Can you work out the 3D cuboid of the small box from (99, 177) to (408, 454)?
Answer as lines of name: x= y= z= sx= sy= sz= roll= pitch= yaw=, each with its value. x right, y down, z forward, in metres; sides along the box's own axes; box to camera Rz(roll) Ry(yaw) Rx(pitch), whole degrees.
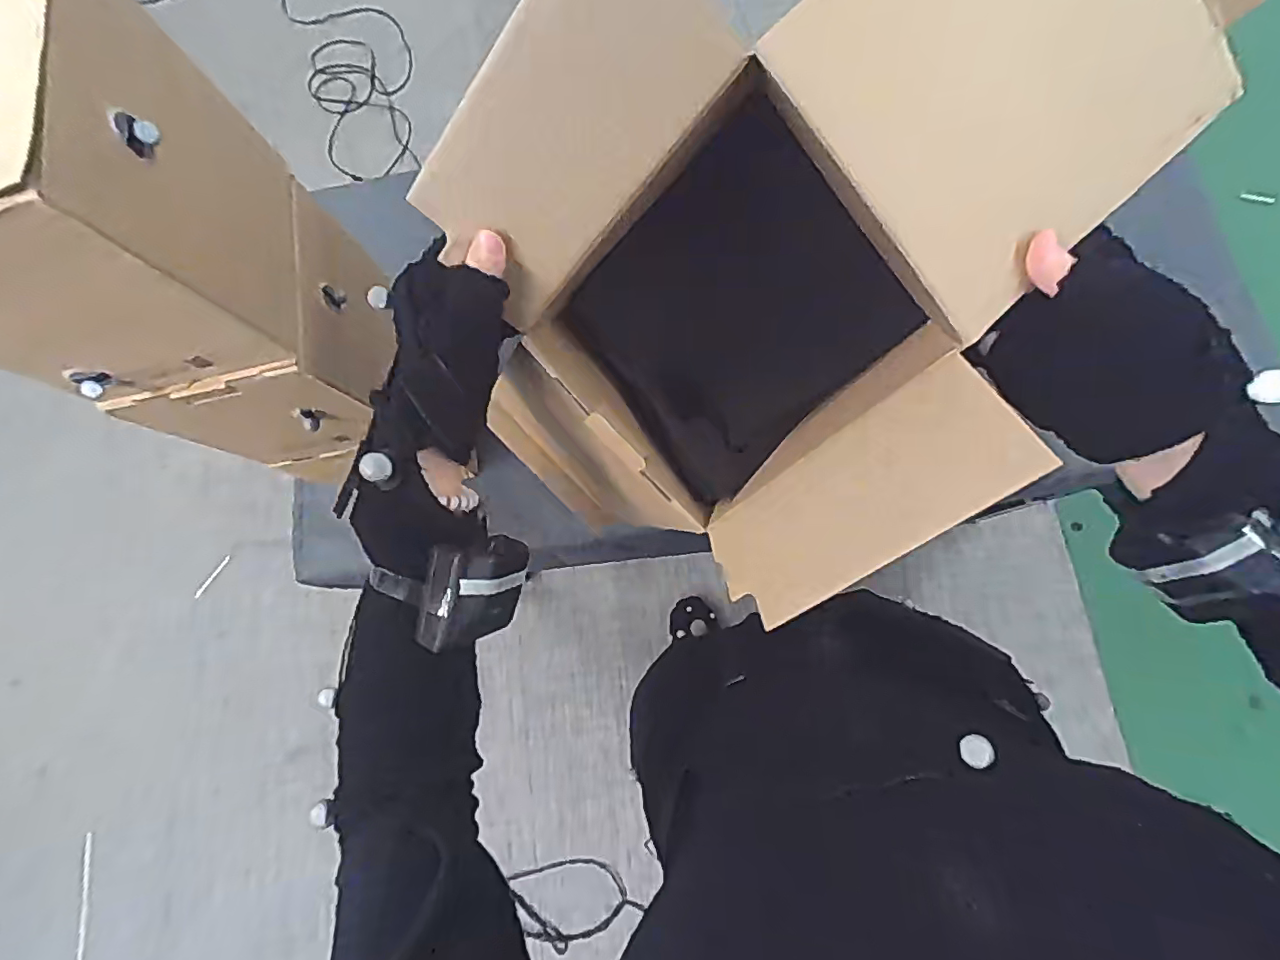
small box: x=-0.334 y=-0.131 z=0.501 sx=0.168 sy=0.176 sz=0.179 roll=-11 pitch=76 yaw=4

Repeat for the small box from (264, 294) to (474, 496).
small box: x=-0.317 y=-0.091 z=0.658 sx=0.168 sy=0.176 sz=0.179 roll=-11 pitch=76 yaw=4

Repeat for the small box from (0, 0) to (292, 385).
small box: x=-0.355 y=-0.174 z=0.344 sx=0.168 sy=0.176 sz=0.179 roll=-12 pitch=76 yaw=3
